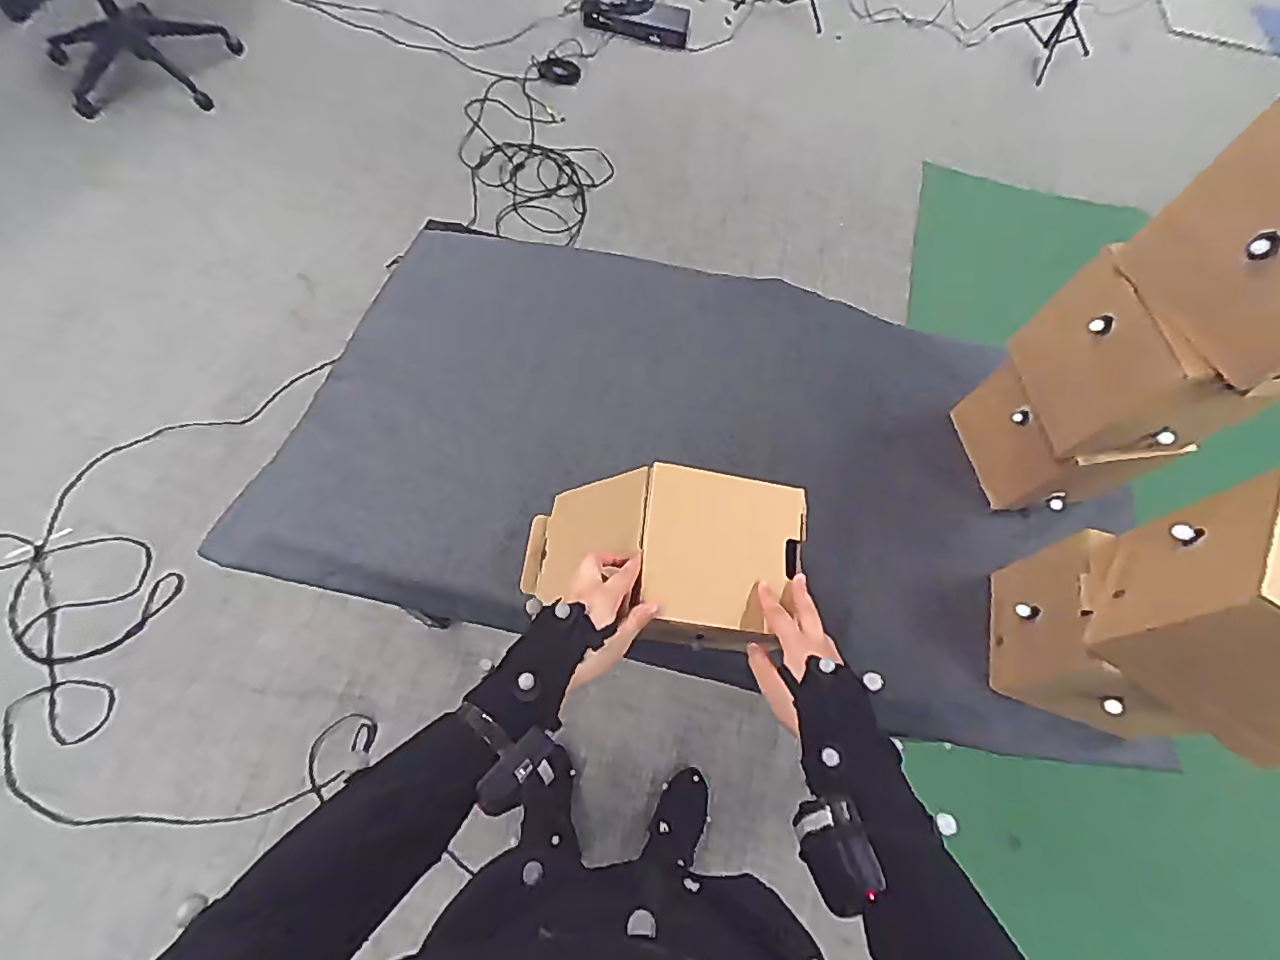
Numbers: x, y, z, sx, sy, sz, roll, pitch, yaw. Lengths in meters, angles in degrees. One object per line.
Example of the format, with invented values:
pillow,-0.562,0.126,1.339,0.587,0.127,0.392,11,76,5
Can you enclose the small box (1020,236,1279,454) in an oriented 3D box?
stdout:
small box,0.582,-0.146,0.612,0.168,0.176,0.179,-4,66,-3

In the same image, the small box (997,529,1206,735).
small box,0.554,0.185,0.633,0.179,0.176,0.168,19,62,5

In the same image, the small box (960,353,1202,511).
small box,0.594,-0.073,0.761,0.168,0.176,0.179,-7,68,-5

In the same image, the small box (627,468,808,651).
small box,0.083,0.102,0.634,0.179,0.176,0.168,8,68,0

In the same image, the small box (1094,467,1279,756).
small box,0.568,0.124,0.481,0.179,0.176,0.168,39,65,13
